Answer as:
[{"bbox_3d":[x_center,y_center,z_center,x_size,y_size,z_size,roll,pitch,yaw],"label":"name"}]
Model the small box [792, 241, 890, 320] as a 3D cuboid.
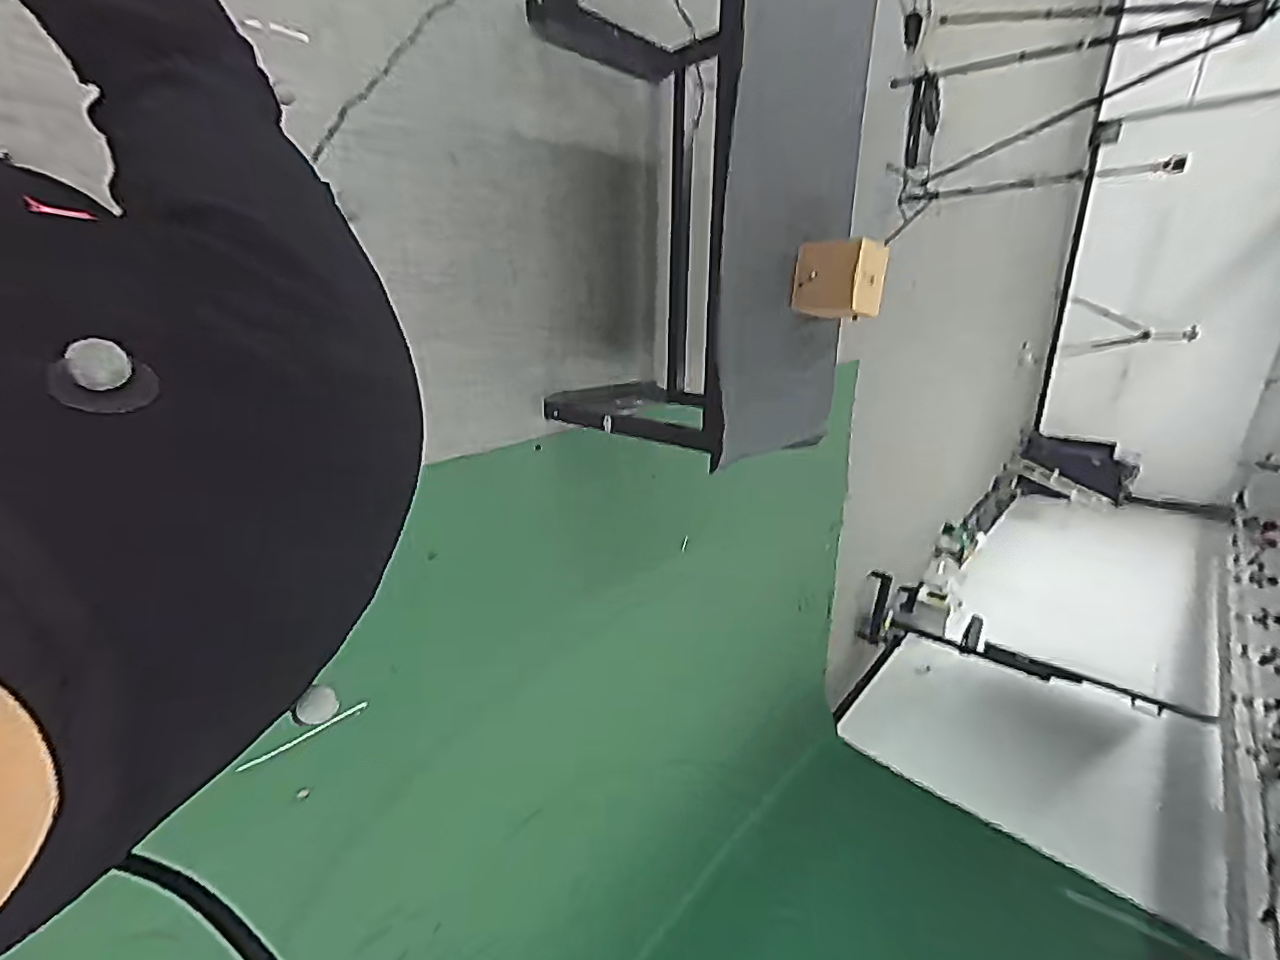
[{"bbox_3d":[0.524,-0.514,1.412,0.179,0.176,0.168,-8,108,-45],"label":"small box"}]
